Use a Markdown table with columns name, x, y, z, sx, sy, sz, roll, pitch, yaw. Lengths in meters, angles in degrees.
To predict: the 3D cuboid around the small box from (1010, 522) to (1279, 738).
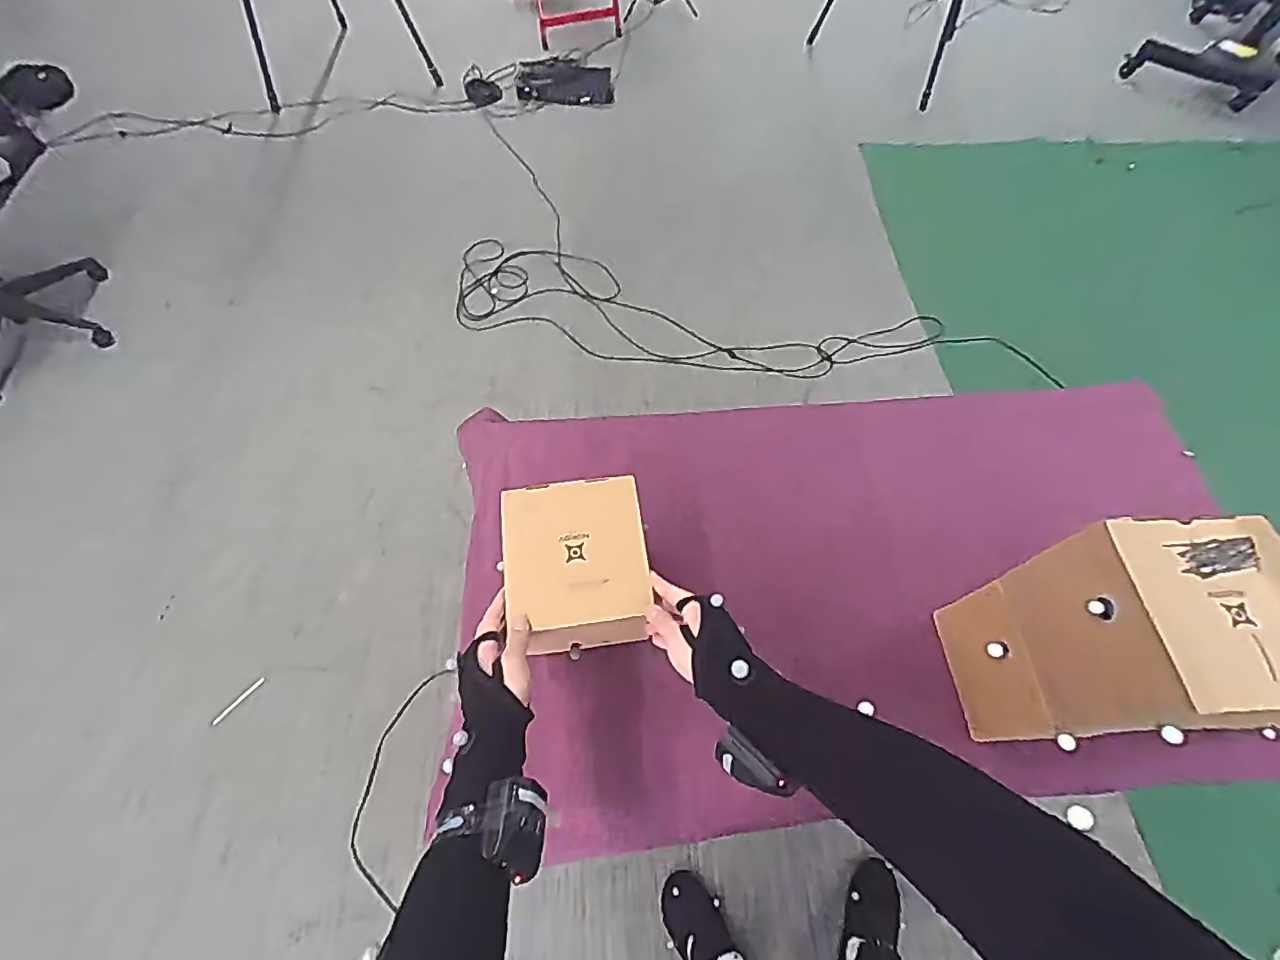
| name | x | y | z | sx | sy | sz | roll | pitch | yaw |
| --- | --- | --- | --- | --- | --- | --- | --- | --- | --- |
| small box | 0.524 | 0.156 | 0.548 | 0.168 | 0.176 | 0.179 | -1 | 61 | -1 |

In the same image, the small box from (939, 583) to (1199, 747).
| name | x | y | z | sx | sy | sz | roll | pitch | yaw |
| --- | --- | --- | --- | --- | --- | --- | --- | --- | --- |
| small box | 0.522 | 0.239 | 0.690 | 0.168 | 0.176 | 0.179 | -2 | 60 | -2 |

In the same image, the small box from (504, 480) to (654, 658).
| name | x | y | z | sx | sy | sz | roll | pitch | yaw |
| --- | --- | --- | --- | --- | --- | --- | --- | --- | --- |
| small box | -0.078 | 0.120 | 0.698 | 0.168 | 0.176 | 0.179 | -7 | 65 | -5 |
